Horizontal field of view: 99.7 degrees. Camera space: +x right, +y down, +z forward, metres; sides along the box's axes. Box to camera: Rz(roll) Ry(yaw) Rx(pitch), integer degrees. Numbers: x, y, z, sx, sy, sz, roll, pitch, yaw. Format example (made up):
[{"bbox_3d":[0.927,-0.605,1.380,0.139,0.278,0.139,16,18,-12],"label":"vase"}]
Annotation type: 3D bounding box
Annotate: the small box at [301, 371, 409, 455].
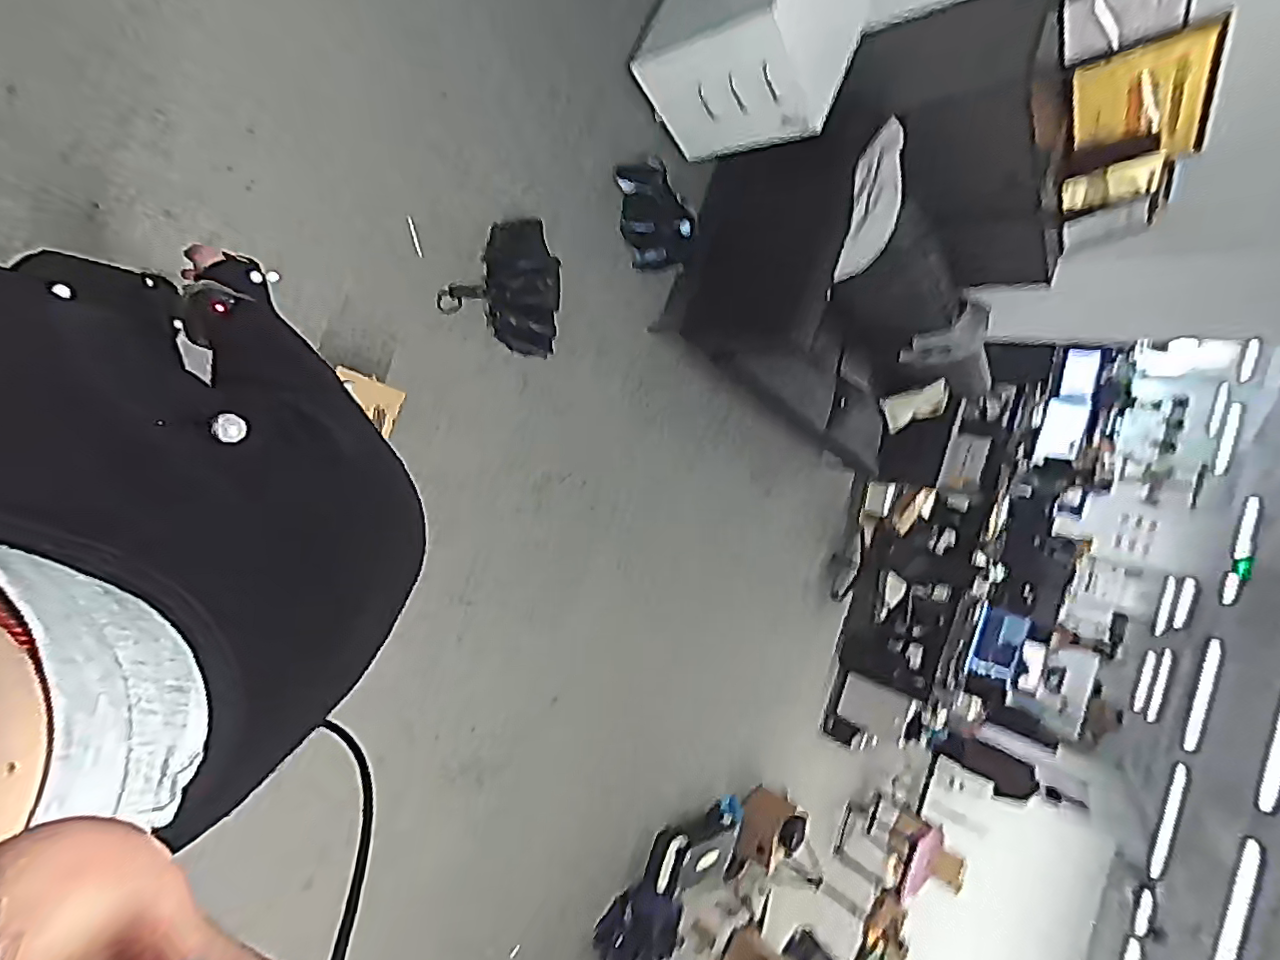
[{"bbox_3d":[-0.743,-0.178,1.408,0.179,0.176,0.168,23,84,-47],"label":"small box"}]
